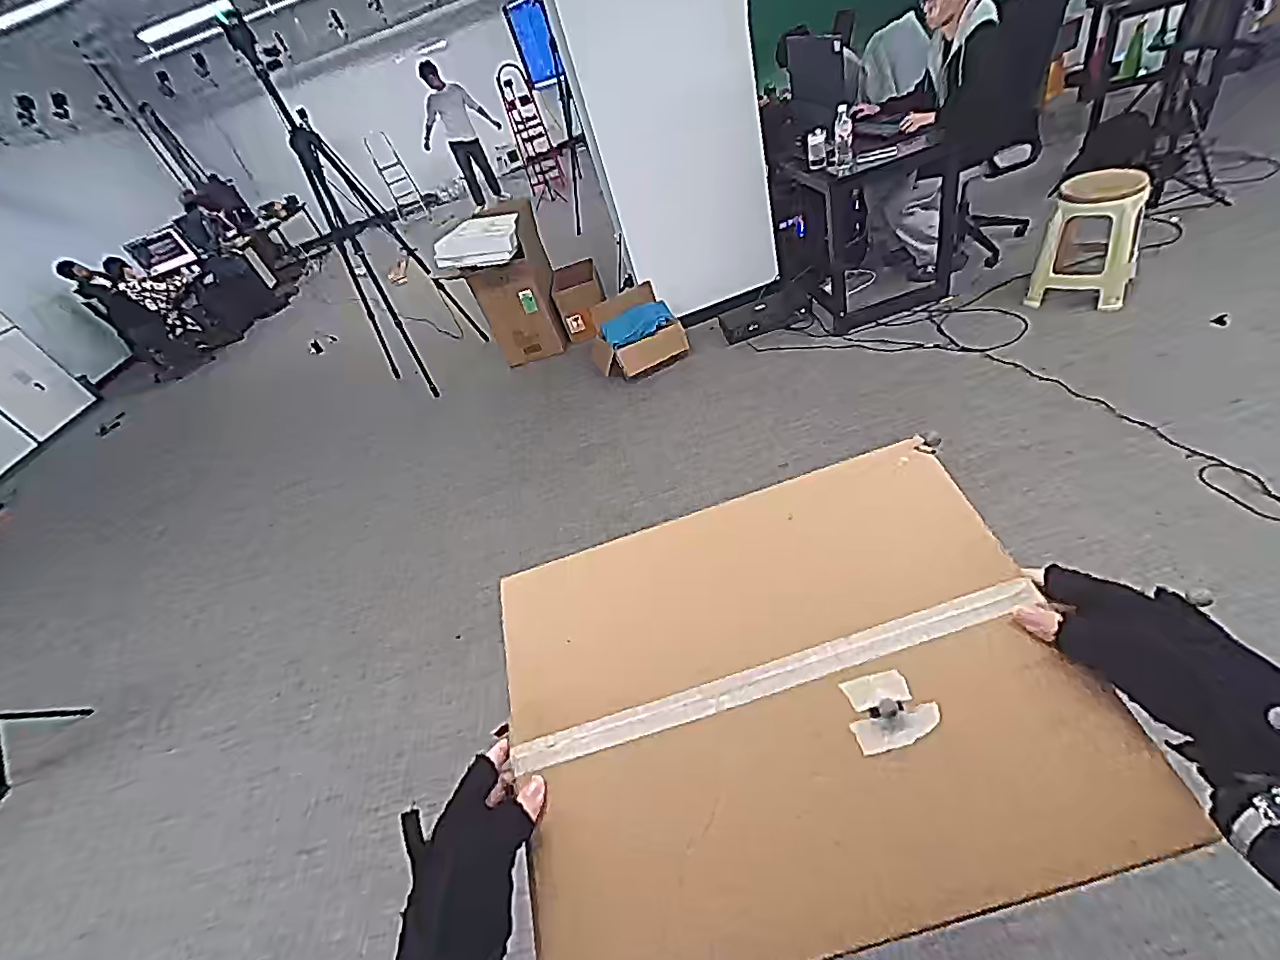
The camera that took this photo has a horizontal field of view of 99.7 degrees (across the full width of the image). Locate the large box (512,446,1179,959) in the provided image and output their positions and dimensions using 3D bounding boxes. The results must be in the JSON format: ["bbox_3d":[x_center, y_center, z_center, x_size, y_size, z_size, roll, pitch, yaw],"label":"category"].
[{"bbox_3d":[0.134,0.233,0.536,0.408,0.320,0.320,-20,55,2],"label":"large box"}]
